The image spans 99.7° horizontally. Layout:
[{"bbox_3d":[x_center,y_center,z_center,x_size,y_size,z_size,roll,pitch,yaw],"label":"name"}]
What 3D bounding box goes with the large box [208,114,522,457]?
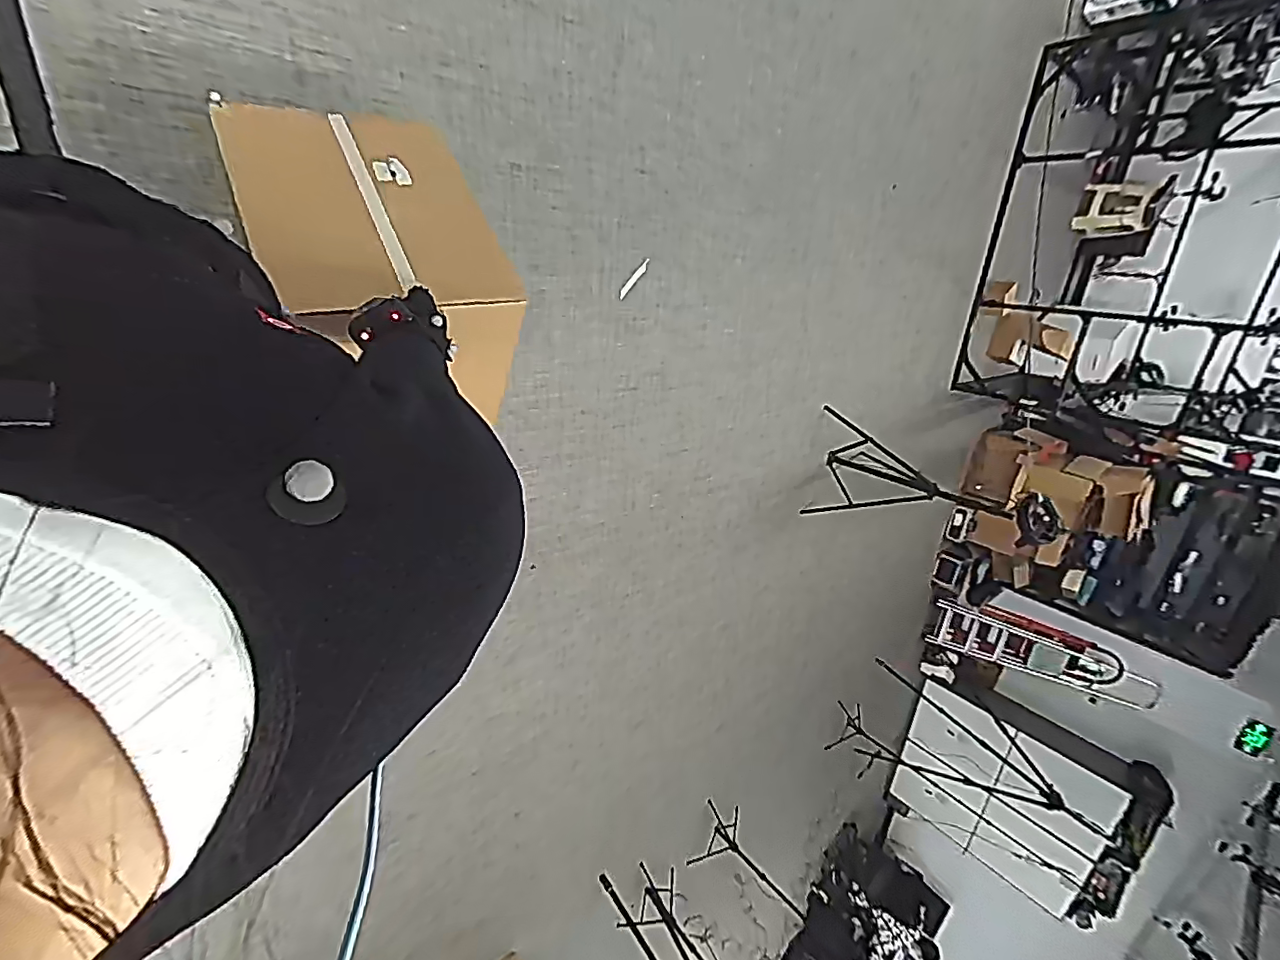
[{"bbox_3d":[-0.436,-0.305,0.882,0.320,0.408,0.320,-16,156,-33],"label":"large box"}]
